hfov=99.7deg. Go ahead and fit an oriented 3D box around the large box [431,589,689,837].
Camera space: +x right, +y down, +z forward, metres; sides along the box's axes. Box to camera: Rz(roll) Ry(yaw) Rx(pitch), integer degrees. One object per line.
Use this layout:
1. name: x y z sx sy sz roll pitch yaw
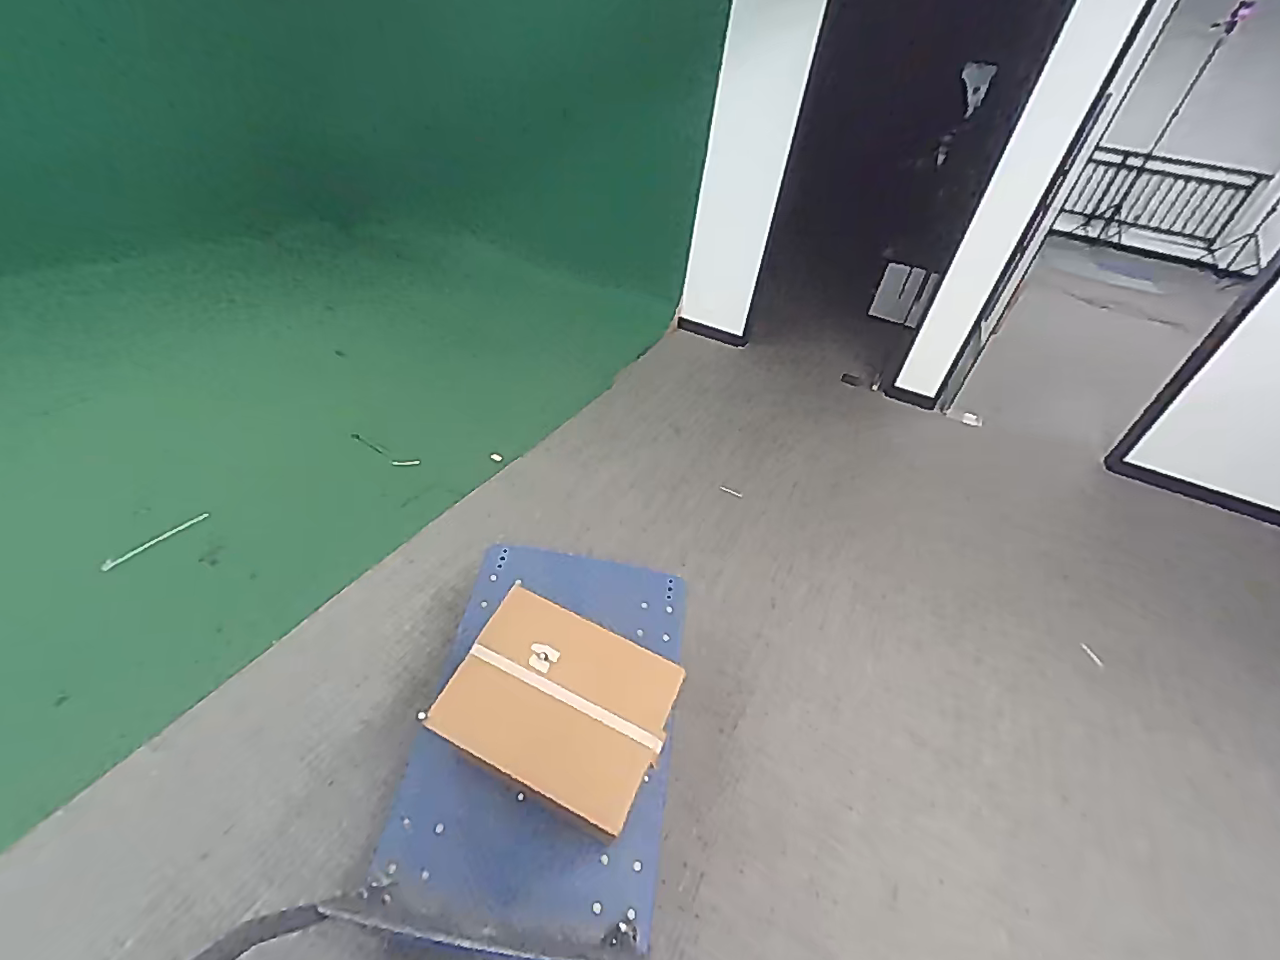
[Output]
1. large box: -0.148 0.499 1.151 0.408 0.320 0.320 23 55 12
